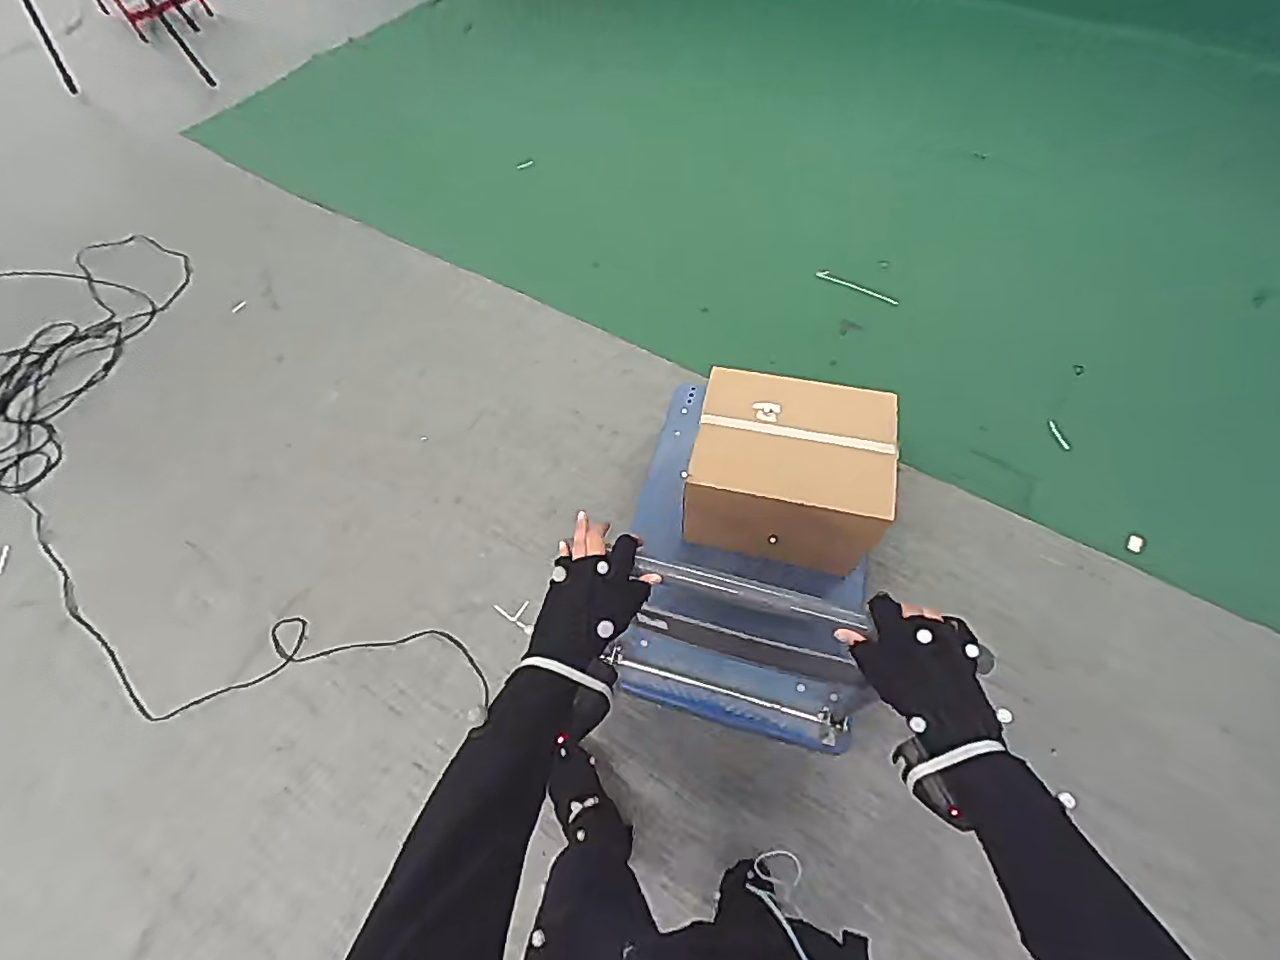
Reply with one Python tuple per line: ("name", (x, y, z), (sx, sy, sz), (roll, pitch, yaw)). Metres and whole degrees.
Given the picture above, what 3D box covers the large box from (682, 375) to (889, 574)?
("large box", (0.324, -0.005, 1.257), (0.408, 0.320, 0.320), (11, 61, 11))
